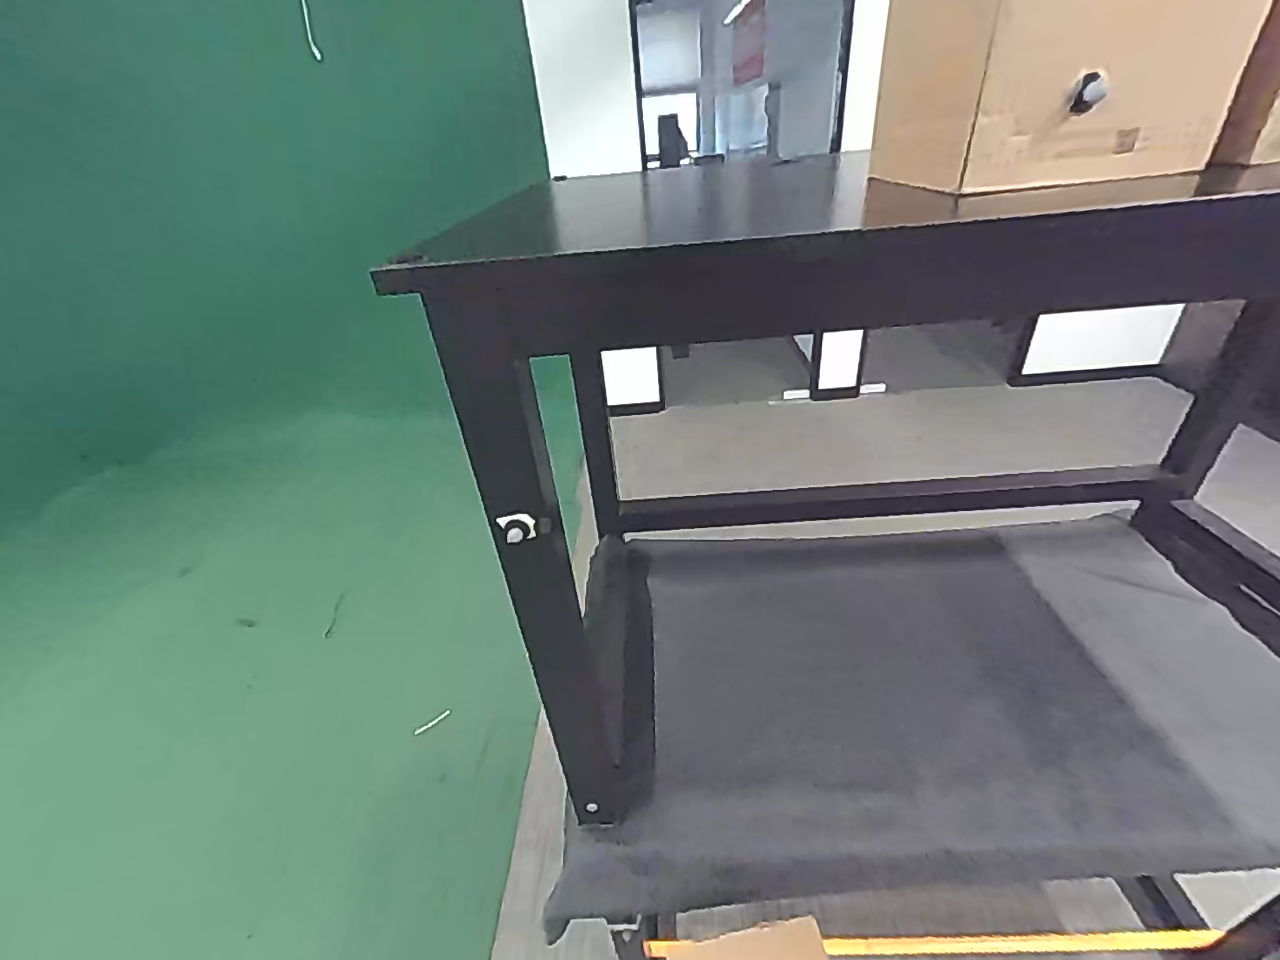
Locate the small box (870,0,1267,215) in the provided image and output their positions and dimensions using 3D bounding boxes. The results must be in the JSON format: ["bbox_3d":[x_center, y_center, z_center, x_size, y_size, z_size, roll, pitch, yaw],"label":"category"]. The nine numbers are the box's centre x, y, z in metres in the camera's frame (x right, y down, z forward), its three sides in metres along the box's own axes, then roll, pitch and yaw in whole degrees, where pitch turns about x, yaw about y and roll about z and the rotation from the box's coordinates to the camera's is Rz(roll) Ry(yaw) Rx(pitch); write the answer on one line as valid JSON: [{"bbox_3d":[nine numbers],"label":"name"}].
[{"bbox_3d":[0.294,-0.304,0.409,0.168,0.176,0.179,-4,33,2],"label":"small box"}]

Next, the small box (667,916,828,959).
[{"bbox_3d":[0.128,0.590,0.530,0.168,0.176,0.179,-12,19,0],"label":"small box"}]
